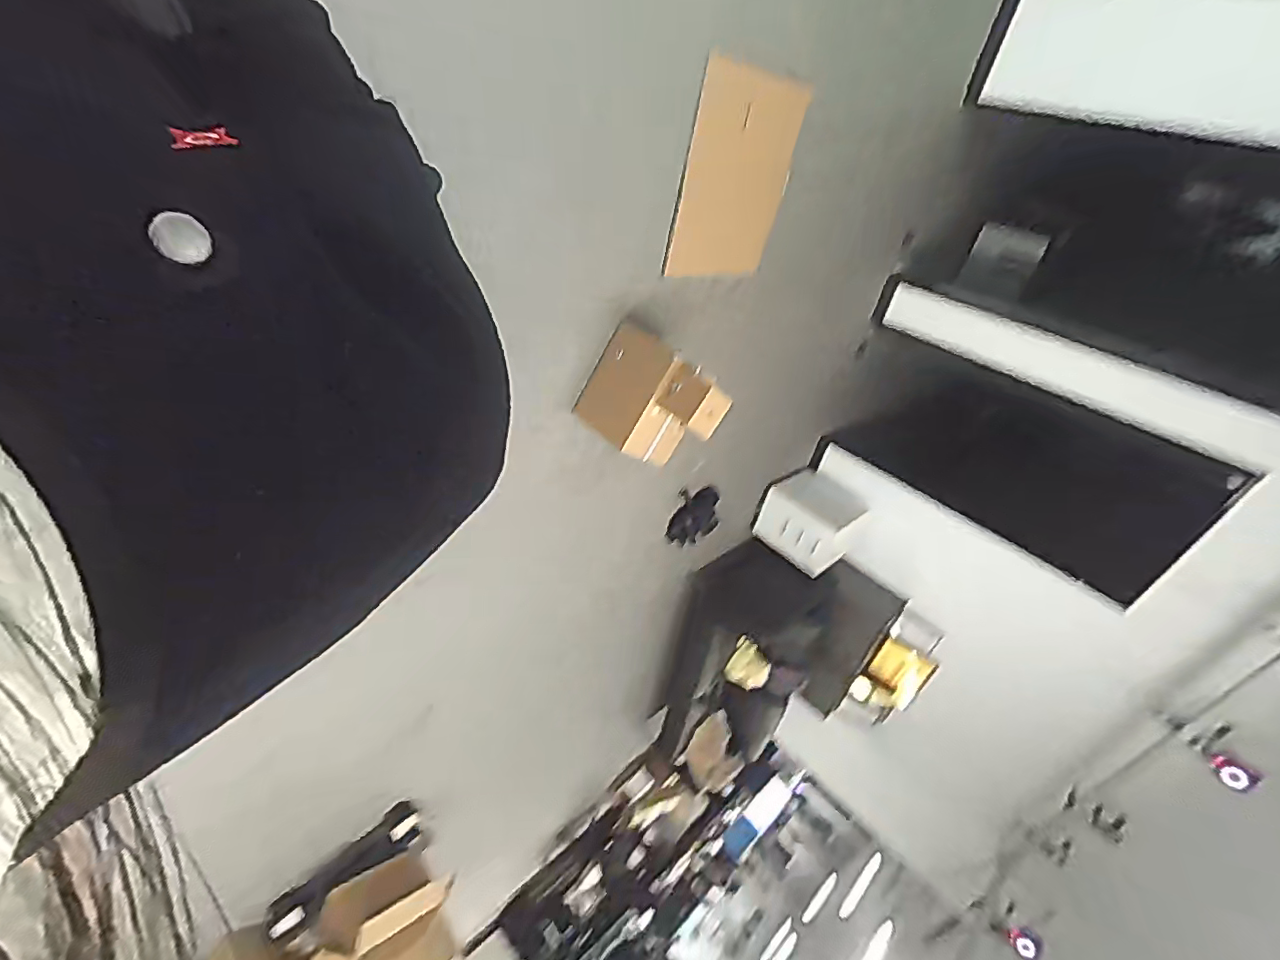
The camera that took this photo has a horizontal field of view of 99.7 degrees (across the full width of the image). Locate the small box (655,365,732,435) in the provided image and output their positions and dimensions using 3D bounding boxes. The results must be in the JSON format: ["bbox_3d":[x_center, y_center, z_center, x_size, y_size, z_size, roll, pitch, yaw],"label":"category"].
[{"bbox_3d":[0.189,-0.287,1.927,0.179,0.176,0.168,22,103,-54],"label":"small box"}]
